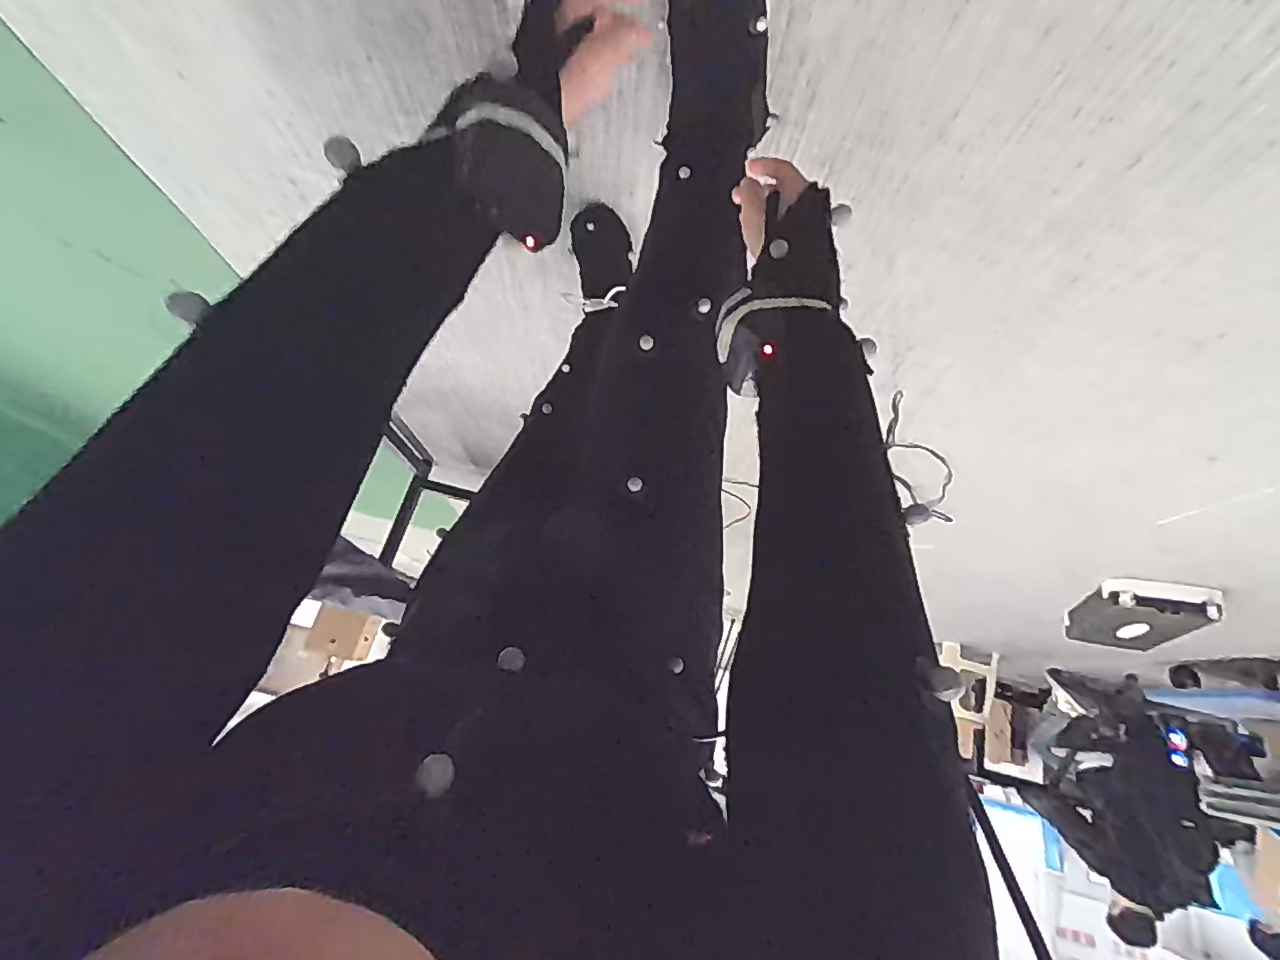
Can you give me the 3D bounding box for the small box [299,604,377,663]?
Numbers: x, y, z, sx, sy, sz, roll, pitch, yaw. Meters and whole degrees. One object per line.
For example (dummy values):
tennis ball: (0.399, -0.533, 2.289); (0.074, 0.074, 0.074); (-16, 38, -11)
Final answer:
small box: (-1.069, 0.551, 1.937); (0.179, 0.176, 0.168); (17, 159, -3)
